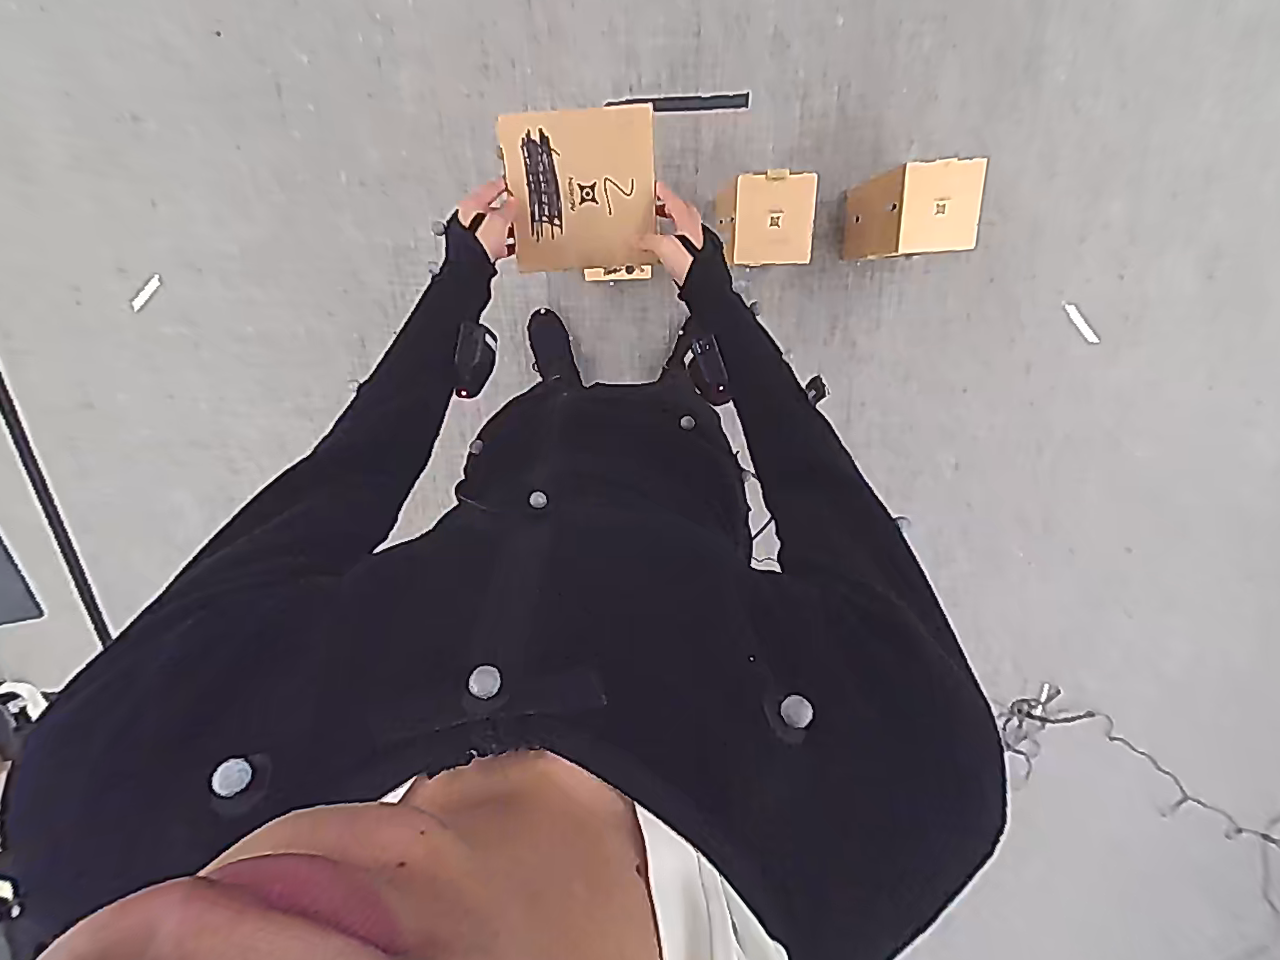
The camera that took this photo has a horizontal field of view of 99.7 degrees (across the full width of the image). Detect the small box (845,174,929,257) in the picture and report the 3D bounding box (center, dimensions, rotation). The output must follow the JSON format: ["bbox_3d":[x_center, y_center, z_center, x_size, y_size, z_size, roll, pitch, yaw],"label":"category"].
[{"bbox_3d":[0.622,-0.651,1.342,0.168,0.176,0.179,-4,109,1],"label":"small box"}]

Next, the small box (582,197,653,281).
[{"bbox_3d":[-0.053,-0.600,1.362,0.168,0.176,0.179,-2,109,1],"label":"small box"}]

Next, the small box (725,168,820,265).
[{"bbox_3d":[0.284,-0.573,1.194,0.168,0.176,0.179,0,110,1],"label":"small box"}]

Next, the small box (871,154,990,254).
[{"bbox_3d":[0.626,-0.596,1.189,0.168,0.176,0.179,-3,109,1],"label":"small box"}]

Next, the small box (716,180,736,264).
[{"bbox_3d":[0.282,-0.635,1.346,0.168,0.176,0.179,0,111,0],"label":"small box"}]
